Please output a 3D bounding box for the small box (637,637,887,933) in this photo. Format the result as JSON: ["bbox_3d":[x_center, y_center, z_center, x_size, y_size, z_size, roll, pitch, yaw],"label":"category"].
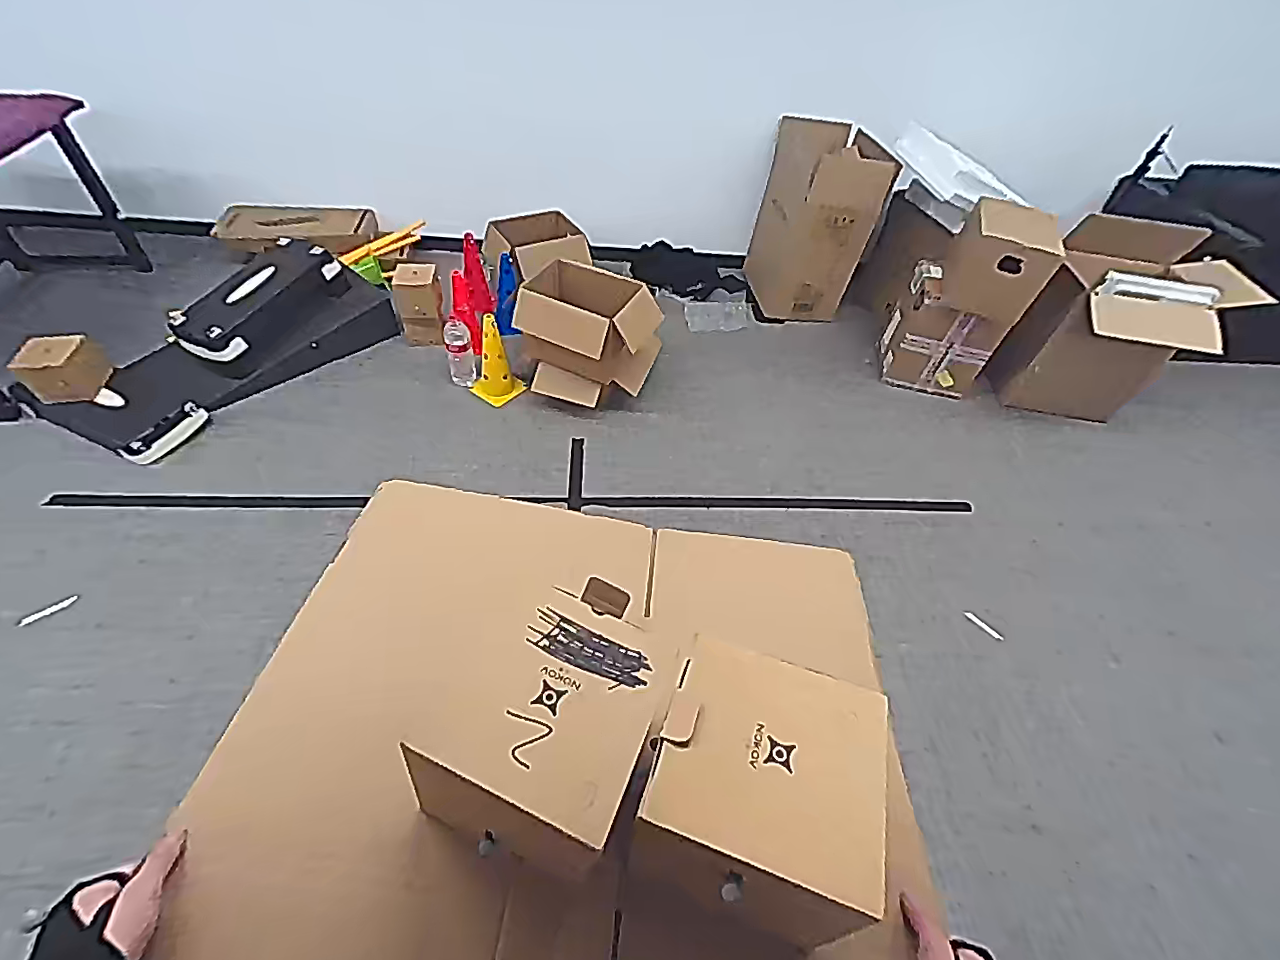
[{"bbox_3d":[0.106,0.281,0.497,0.179,0.176,0.168,15,45,12],"label":"small box"}]
